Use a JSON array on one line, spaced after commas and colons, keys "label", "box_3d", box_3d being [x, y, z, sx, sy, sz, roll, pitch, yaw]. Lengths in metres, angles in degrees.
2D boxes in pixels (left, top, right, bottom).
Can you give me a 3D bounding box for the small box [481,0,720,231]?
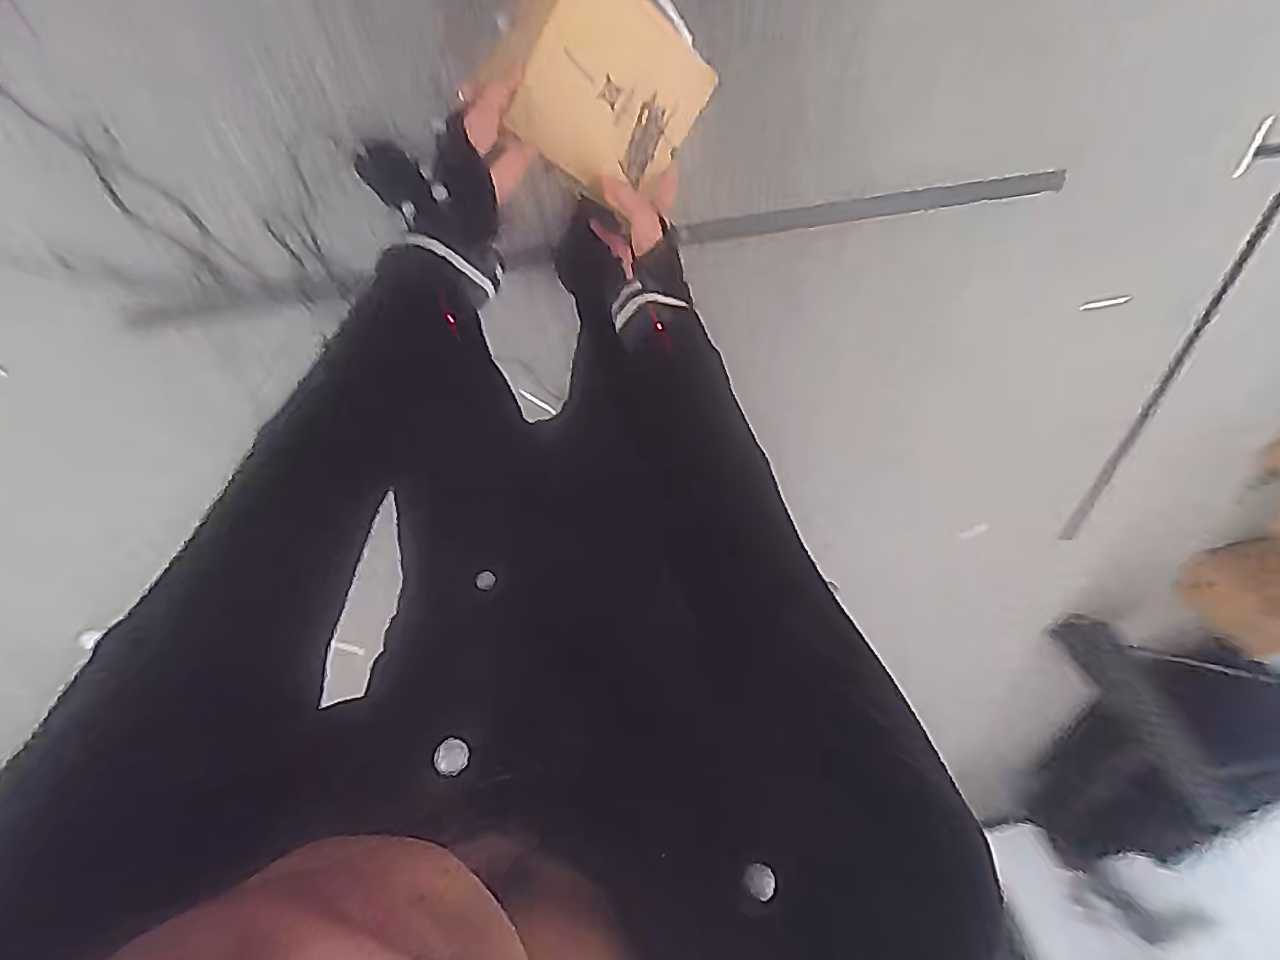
[{"label": "small box", "box_3d": [-0.052, -0.416, 0.601, 0.179, 0.176, 0.168, 20, 113, -38]}]
